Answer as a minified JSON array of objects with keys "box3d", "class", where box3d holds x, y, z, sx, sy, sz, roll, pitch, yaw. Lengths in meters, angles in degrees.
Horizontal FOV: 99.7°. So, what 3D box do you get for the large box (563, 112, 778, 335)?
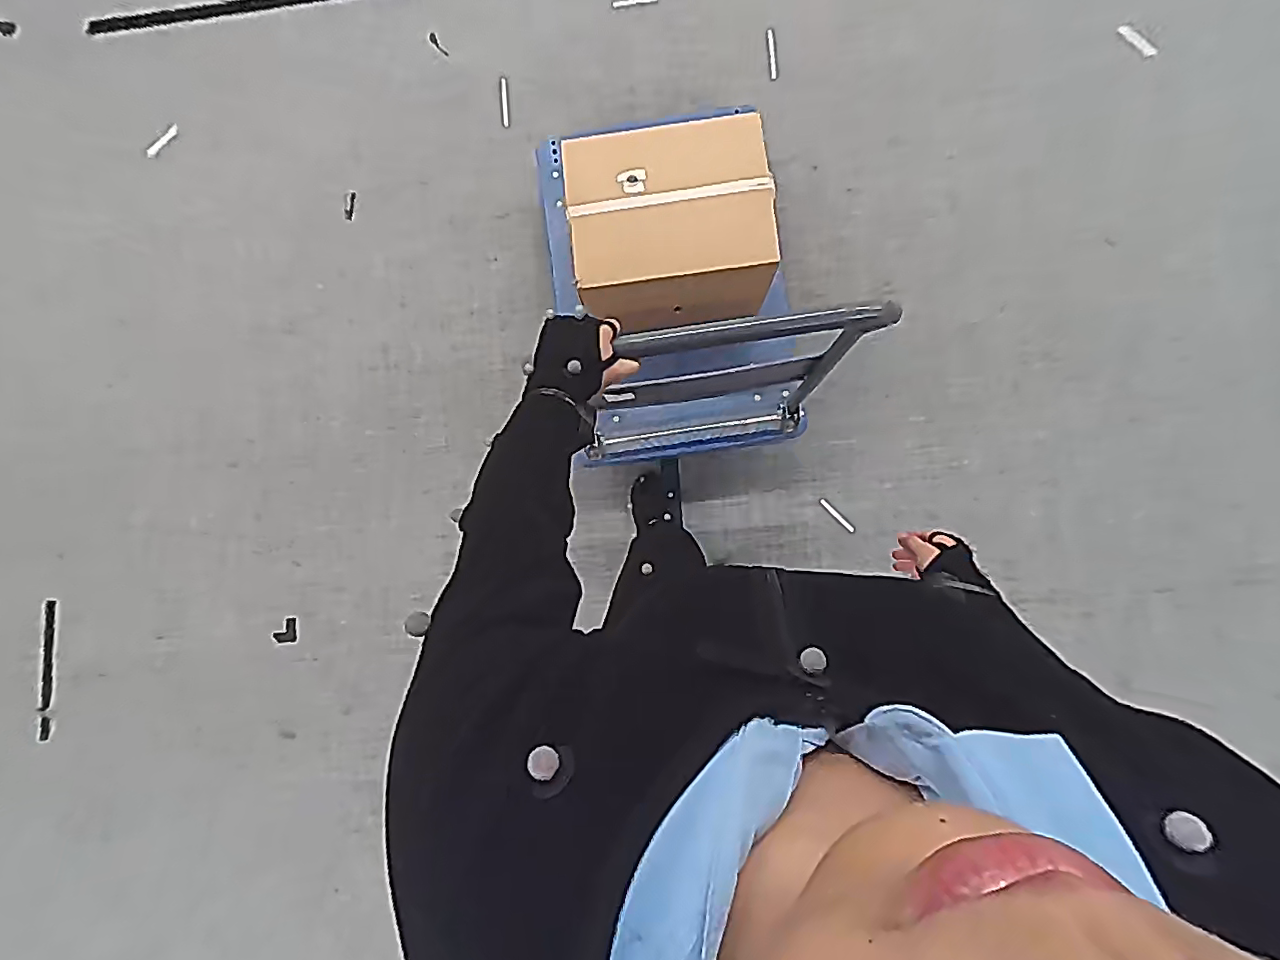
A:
[{"box3d":[0.068,-0.550,1.229,0.408,0.320,0.320,-7,85,4],"class":"large box"}]
